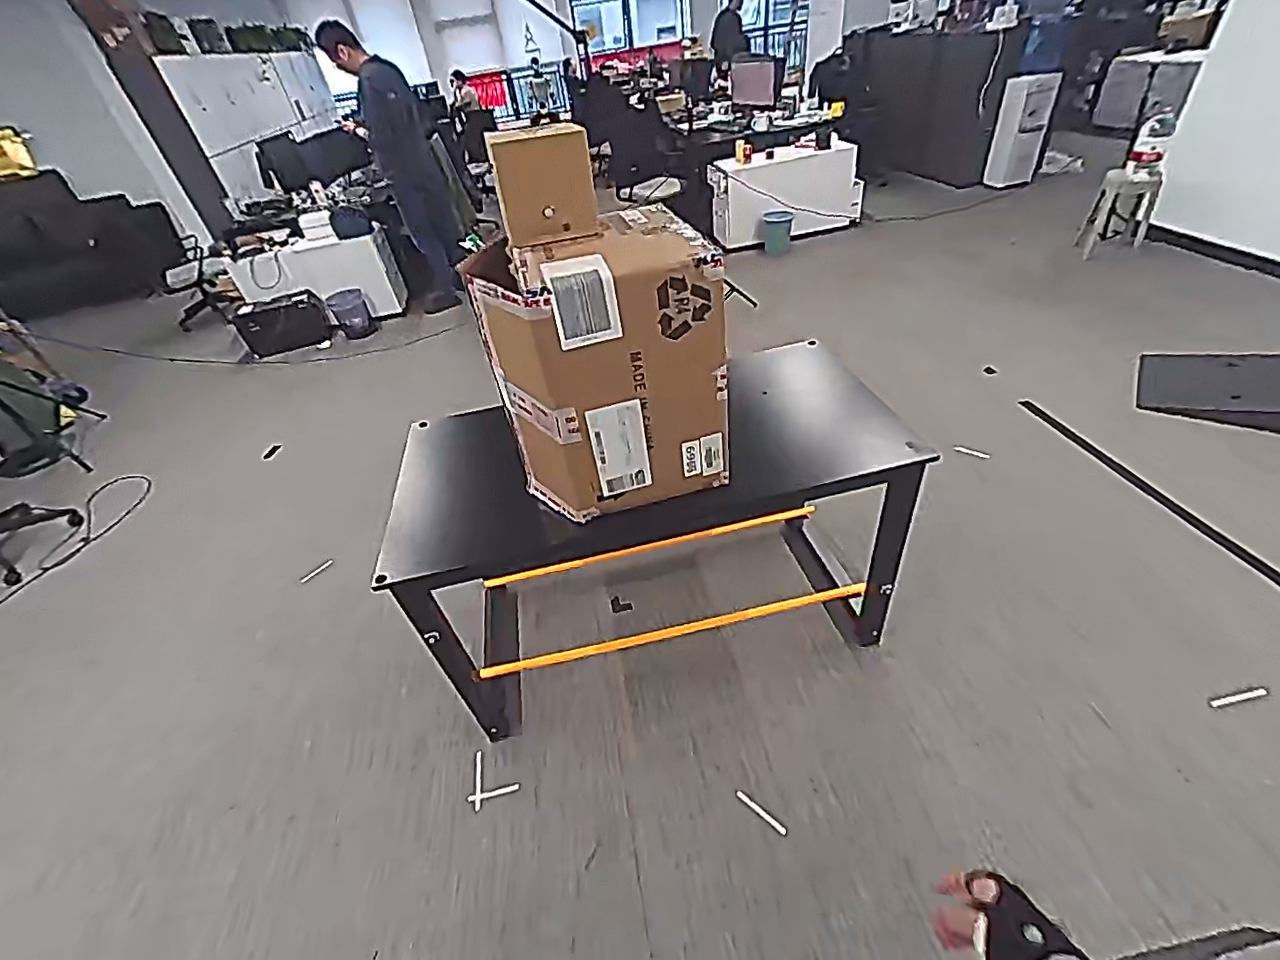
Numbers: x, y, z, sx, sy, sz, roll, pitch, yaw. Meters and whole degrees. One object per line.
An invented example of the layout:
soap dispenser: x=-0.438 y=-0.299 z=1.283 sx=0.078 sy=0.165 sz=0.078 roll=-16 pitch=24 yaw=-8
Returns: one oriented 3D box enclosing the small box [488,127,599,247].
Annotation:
small box: x=-0.182 y=-0.553 z=1.019 sx=0.168 sy=0.176 sz=0.179 roll=-14 pitch=38 yaw=-9
